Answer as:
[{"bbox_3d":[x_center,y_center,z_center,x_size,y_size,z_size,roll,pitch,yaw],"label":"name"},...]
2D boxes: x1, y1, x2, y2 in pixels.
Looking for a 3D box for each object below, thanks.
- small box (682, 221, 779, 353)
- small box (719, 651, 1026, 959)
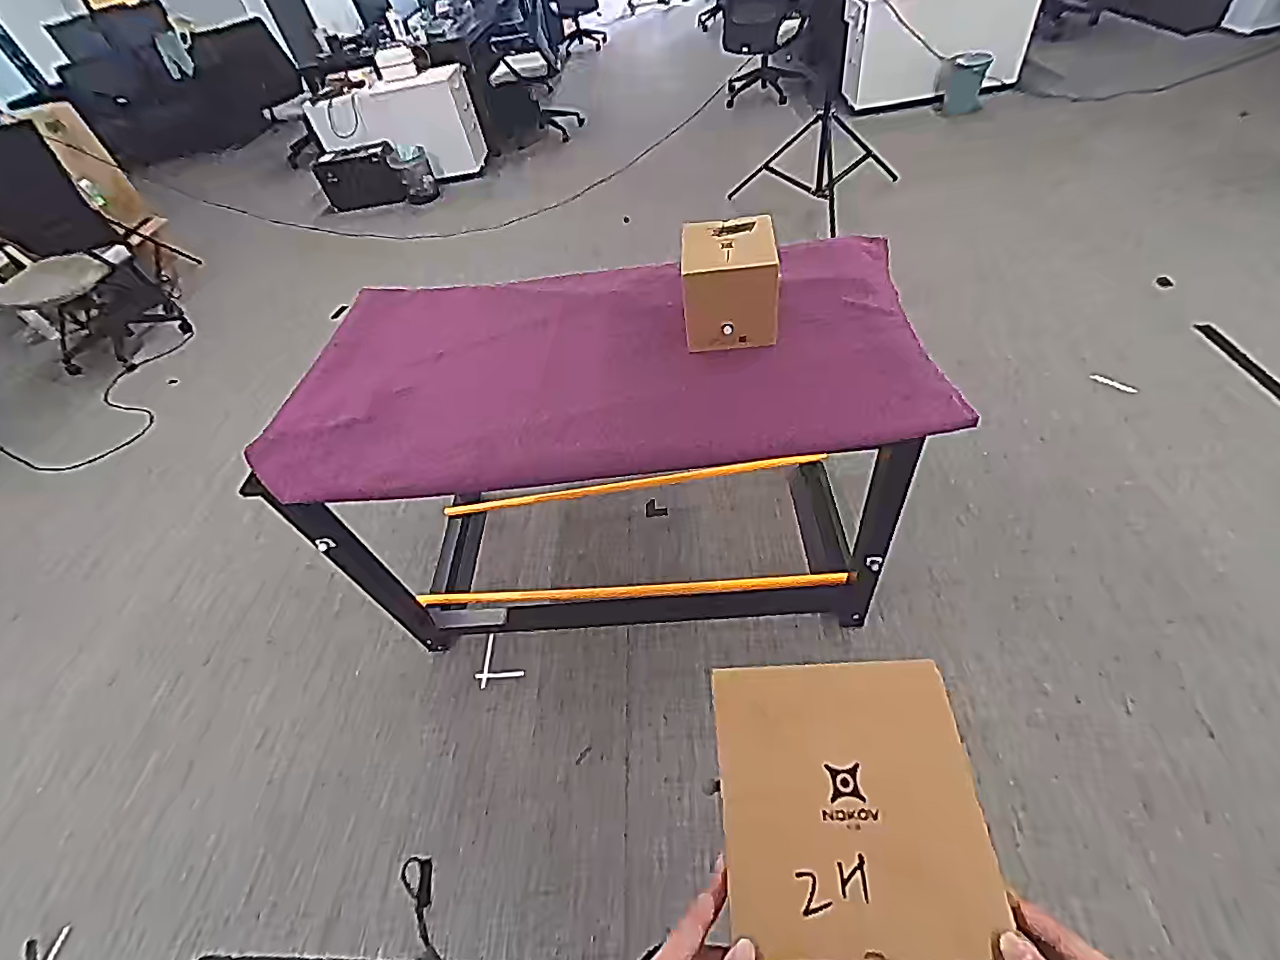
[{"bbox_3d":[0.168,-0.363,1.023,0.168,0.176,0.179,-3,50,9],"label":"small box"},{"bbox_3d":[0.149,0.247,0.424,0.168,0.176,0.179,-5,55,8],"label":"small box"}]
